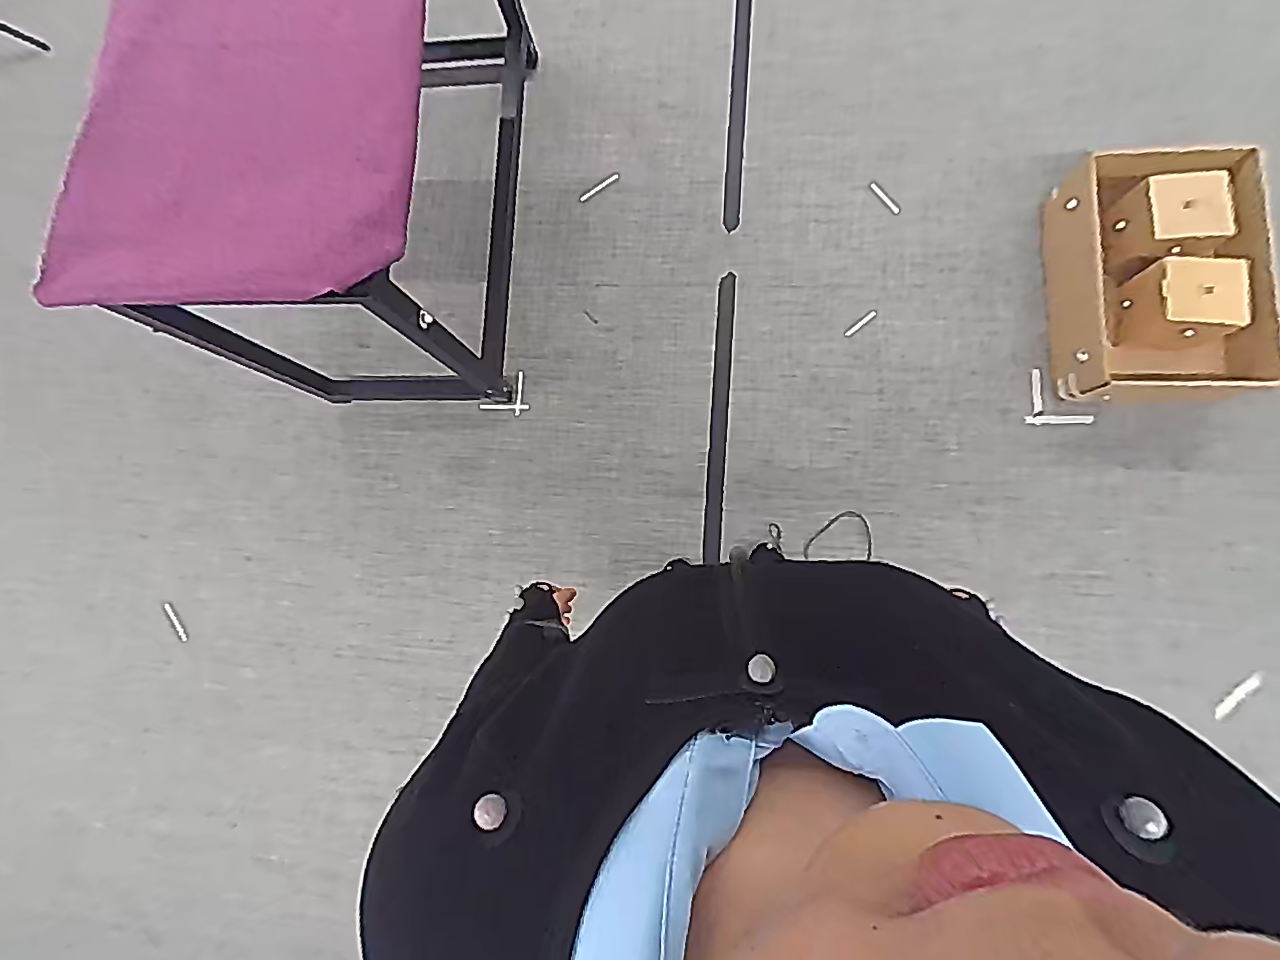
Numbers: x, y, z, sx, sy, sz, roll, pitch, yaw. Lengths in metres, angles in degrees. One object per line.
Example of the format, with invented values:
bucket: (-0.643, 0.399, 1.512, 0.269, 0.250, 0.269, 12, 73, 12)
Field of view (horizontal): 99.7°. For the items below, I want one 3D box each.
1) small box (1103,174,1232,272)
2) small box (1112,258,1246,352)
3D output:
small box: (1.333, -0.649, 1.384, 0.179, 0.176, 0.168, 0, 84, 6)
small box: (1.344, -0.433, 1.356, 0.179, 0.176, 0.168, 7, 83, 7)
